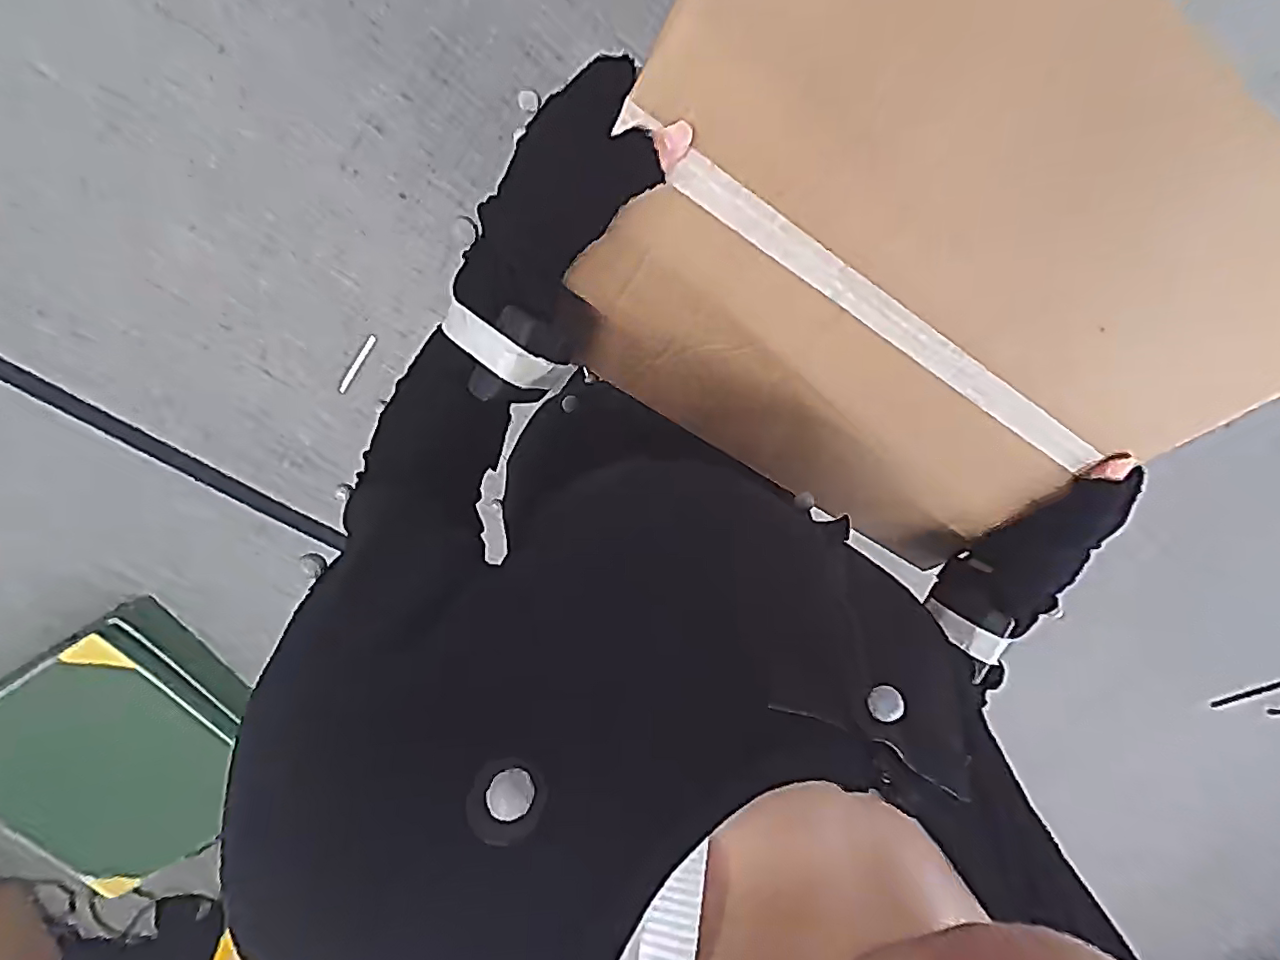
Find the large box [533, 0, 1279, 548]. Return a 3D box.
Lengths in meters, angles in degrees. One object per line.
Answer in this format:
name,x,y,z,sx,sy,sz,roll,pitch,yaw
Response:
large box,0.189,-0.209,0.450,0.408,0.320,0.320,29,135,-15
